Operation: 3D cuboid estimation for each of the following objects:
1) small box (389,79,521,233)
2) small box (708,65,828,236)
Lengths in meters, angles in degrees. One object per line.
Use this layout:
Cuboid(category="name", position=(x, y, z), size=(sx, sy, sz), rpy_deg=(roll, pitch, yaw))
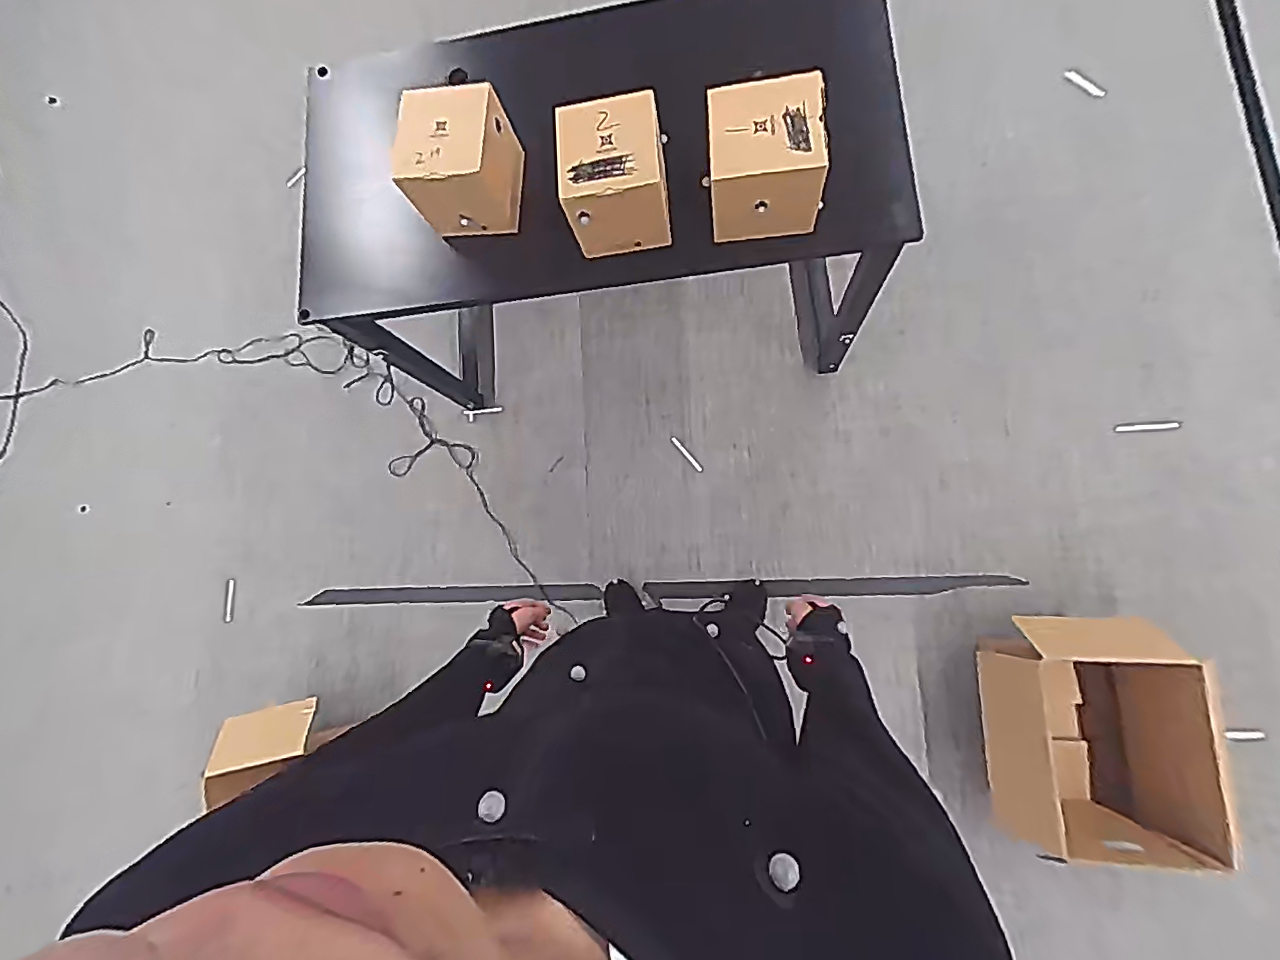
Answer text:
Cuboid(category="small box", position=(-0.328, -0.586, 0.994), size=(0.168, 0.176, 0.179), rpy_deg=(1, 82, 10))
Cuboid(category="small box", position=(0.205, -0.534, 0.899), size=(0.179, 0.176, 0.168), rpy_deg=(-3, 80, 10))
